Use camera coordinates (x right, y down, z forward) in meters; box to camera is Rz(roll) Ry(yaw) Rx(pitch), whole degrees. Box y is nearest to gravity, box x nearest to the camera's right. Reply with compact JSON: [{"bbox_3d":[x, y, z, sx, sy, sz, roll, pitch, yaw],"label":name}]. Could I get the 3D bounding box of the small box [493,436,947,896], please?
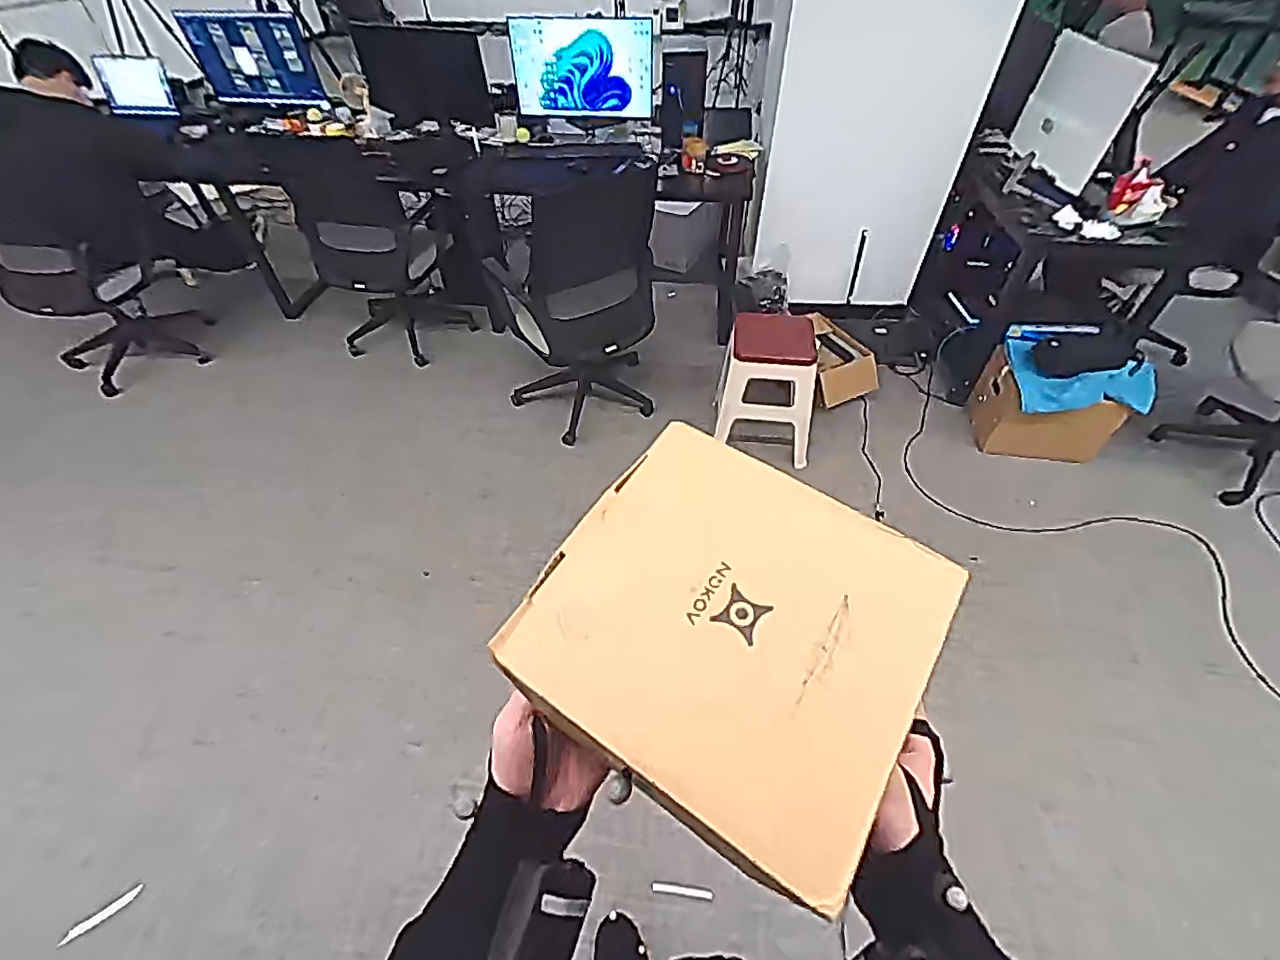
[{"bbox_3d":[0.044,0.111,0.338,0.179,0.176,0.168,30,64,18],"label":"small box"}]
